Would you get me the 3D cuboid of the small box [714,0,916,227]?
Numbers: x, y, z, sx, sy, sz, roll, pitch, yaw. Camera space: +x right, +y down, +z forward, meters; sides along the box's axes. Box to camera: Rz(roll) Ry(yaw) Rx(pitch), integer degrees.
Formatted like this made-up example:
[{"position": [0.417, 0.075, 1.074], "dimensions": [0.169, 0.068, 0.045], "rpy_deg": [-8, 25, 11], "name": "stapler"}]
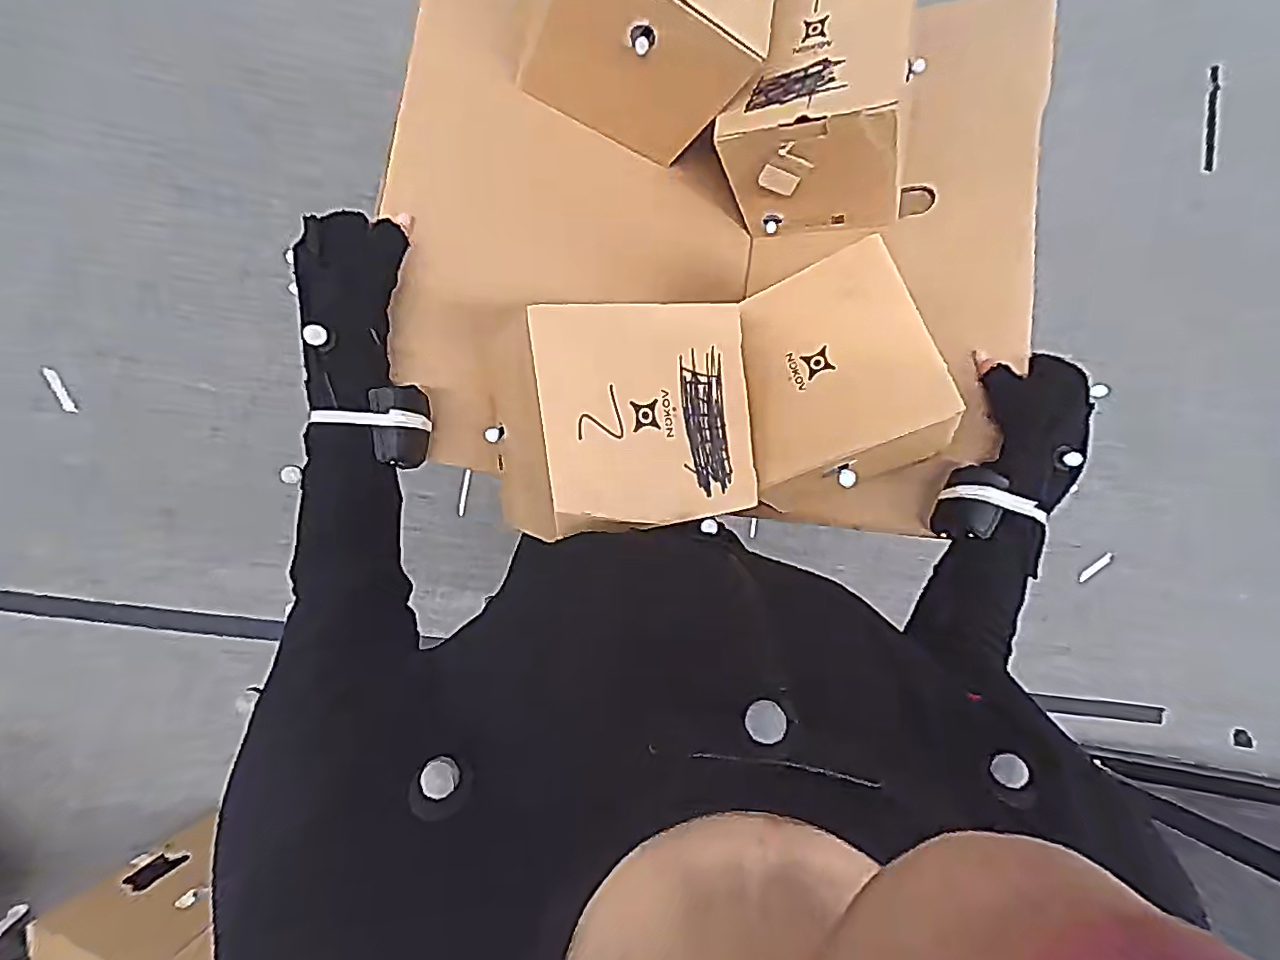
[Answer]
[{"position": [0.191, -0.391, 0.571], "dimensions": [0.168, 0.176, 0.179], "rpy_deg": [7, 82, 25], "name": "small box"}]
